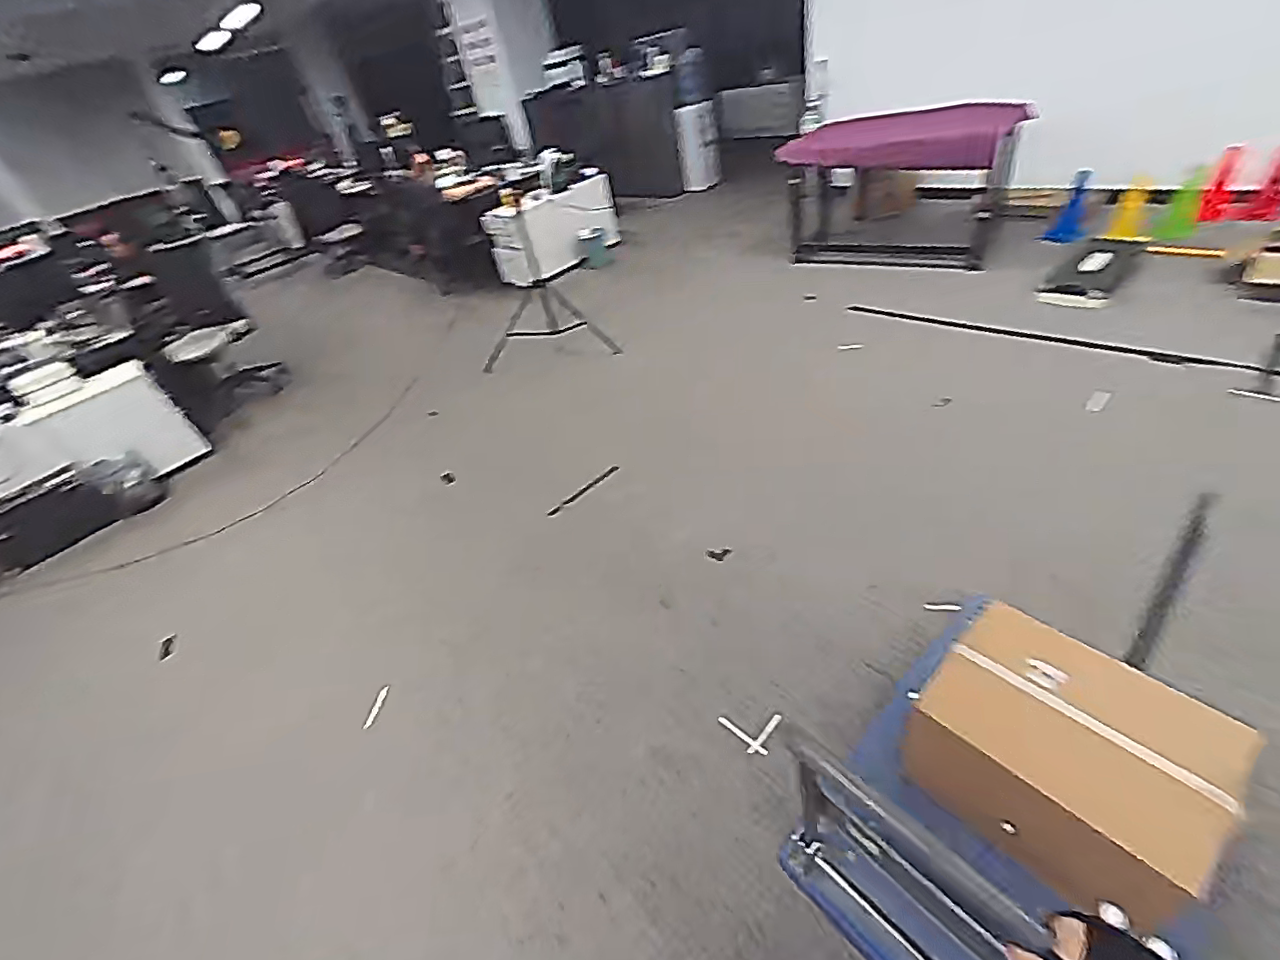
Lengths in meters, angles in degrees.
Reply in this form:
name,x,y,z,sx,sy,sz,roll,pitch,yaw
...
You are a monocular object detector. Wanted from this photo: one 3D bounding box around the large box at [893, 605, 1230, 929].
name,x,y,z,sx,sy,sz,roll,pitch,yaw
large box,0.765,0.527,1.044,0.320,0.320,0.408,-36,42,-25
